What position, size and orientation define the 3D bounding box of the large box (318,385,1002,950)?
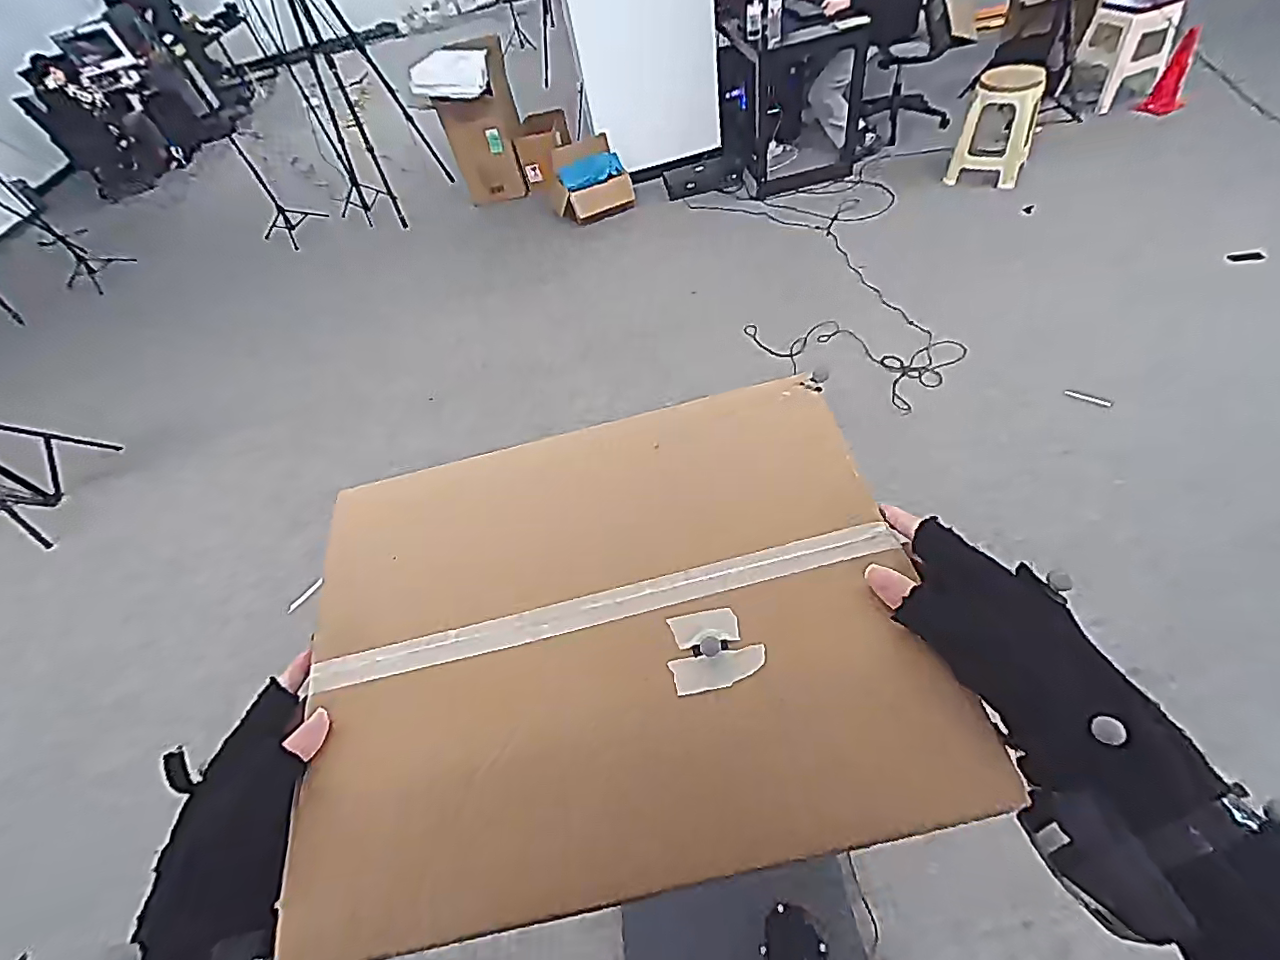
[{"bbox_3d":[0.002,0.169,0.504,0.408,0.320,0.320,-14,57,1],"label":"large box"}]
